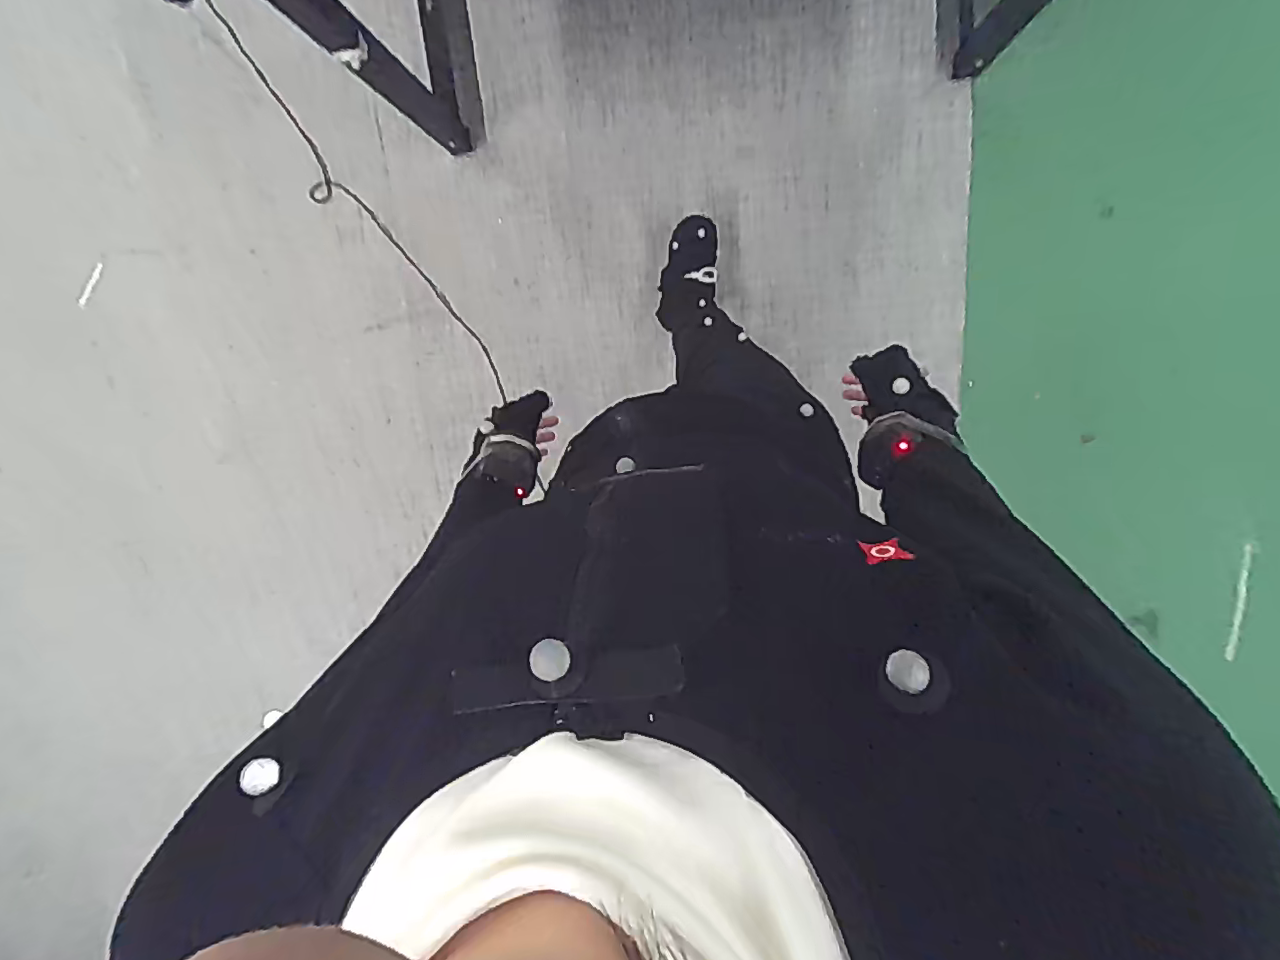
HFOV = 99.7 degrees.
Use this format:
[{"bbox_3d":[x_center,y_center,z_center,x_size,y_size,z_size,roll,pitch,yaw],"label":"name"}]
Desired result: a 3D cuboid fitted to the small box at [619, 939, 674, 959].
[{"bbox_3d":[0.020,1.626,1.740,0.179,0.176,0.168,-4,104,6],"label":"small box"}]
